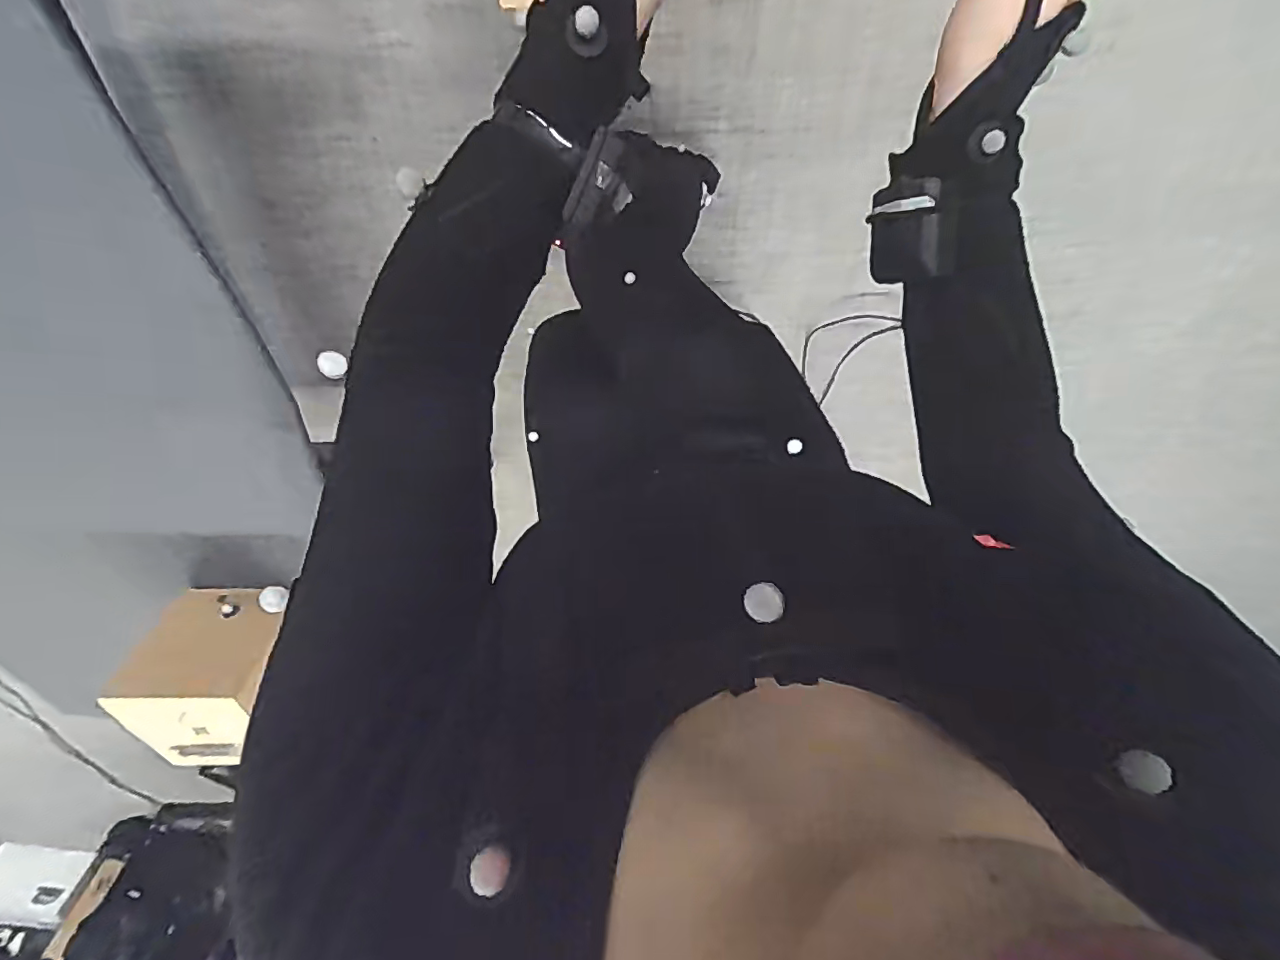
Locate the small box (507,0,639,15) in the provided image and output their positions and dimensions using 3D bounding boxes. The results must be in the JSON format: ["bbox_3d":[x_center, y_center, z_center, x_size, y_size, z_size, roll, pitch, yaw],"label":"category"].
[{"bbox_3d":[-0.085,-0.700,0.672,0.168,0.176,0.179,-1,129,0],"label":"small box"}]

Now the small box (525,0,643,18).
[{"bbox_3d":[-0.085,-0.801,0.803,0.179,0.176,0.168,-1,129,3],"label":"small box"}]
